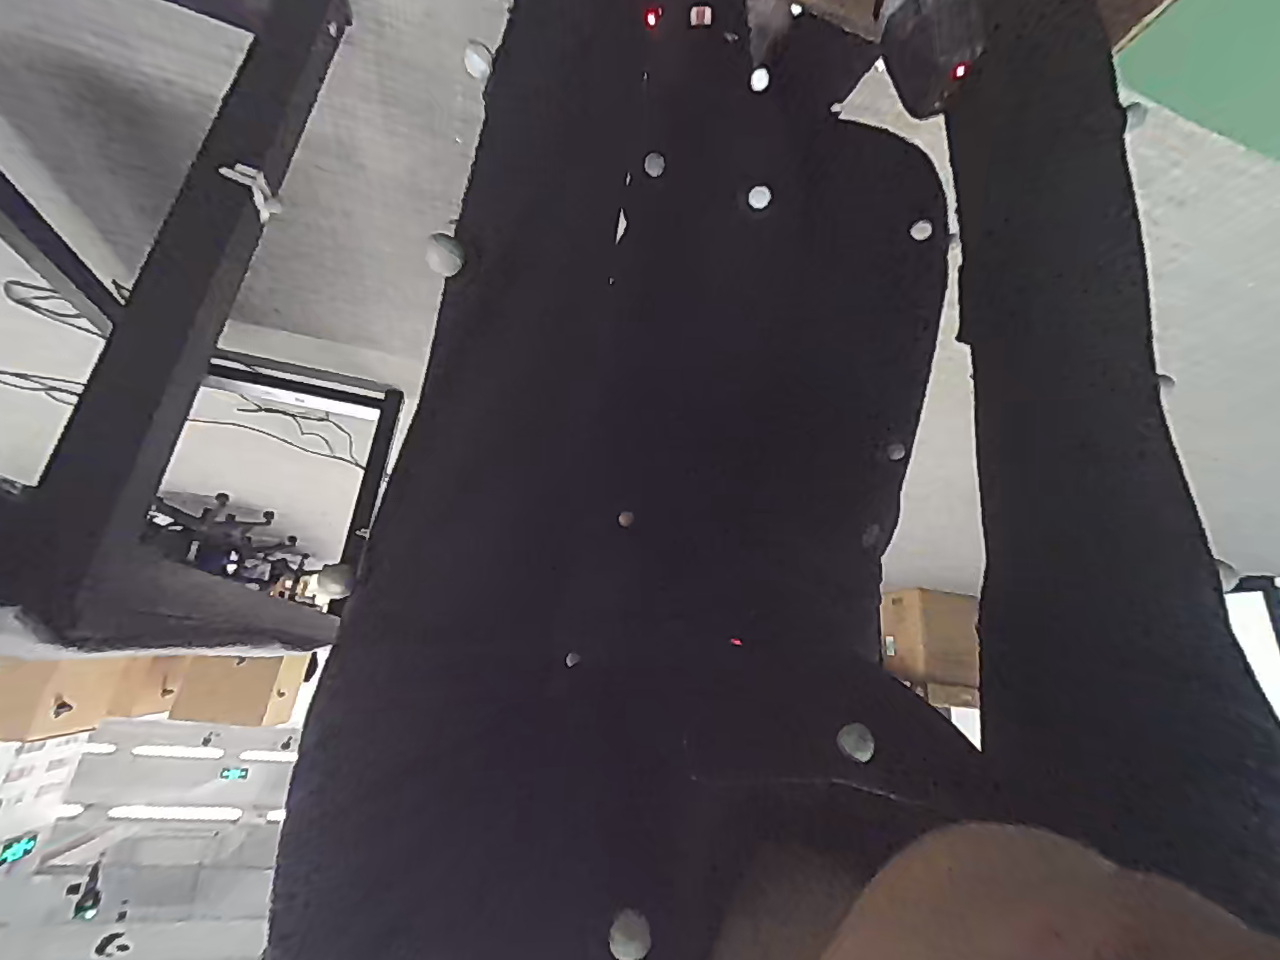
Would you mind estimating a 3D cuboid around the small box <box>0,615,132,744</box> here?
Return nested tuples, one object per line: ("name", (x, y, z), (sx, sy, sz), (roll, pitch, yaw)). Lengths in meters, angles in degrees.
("small box", (-0.946, 0.298, 0.828), (0.168, 0.176, 0.179), (11, 160, -14))

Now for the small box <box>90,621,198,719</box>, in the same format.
("small box", (-1.042, 0.378, 1.087), (0.168, 0.176, 0.179), (10, 161, -14))
